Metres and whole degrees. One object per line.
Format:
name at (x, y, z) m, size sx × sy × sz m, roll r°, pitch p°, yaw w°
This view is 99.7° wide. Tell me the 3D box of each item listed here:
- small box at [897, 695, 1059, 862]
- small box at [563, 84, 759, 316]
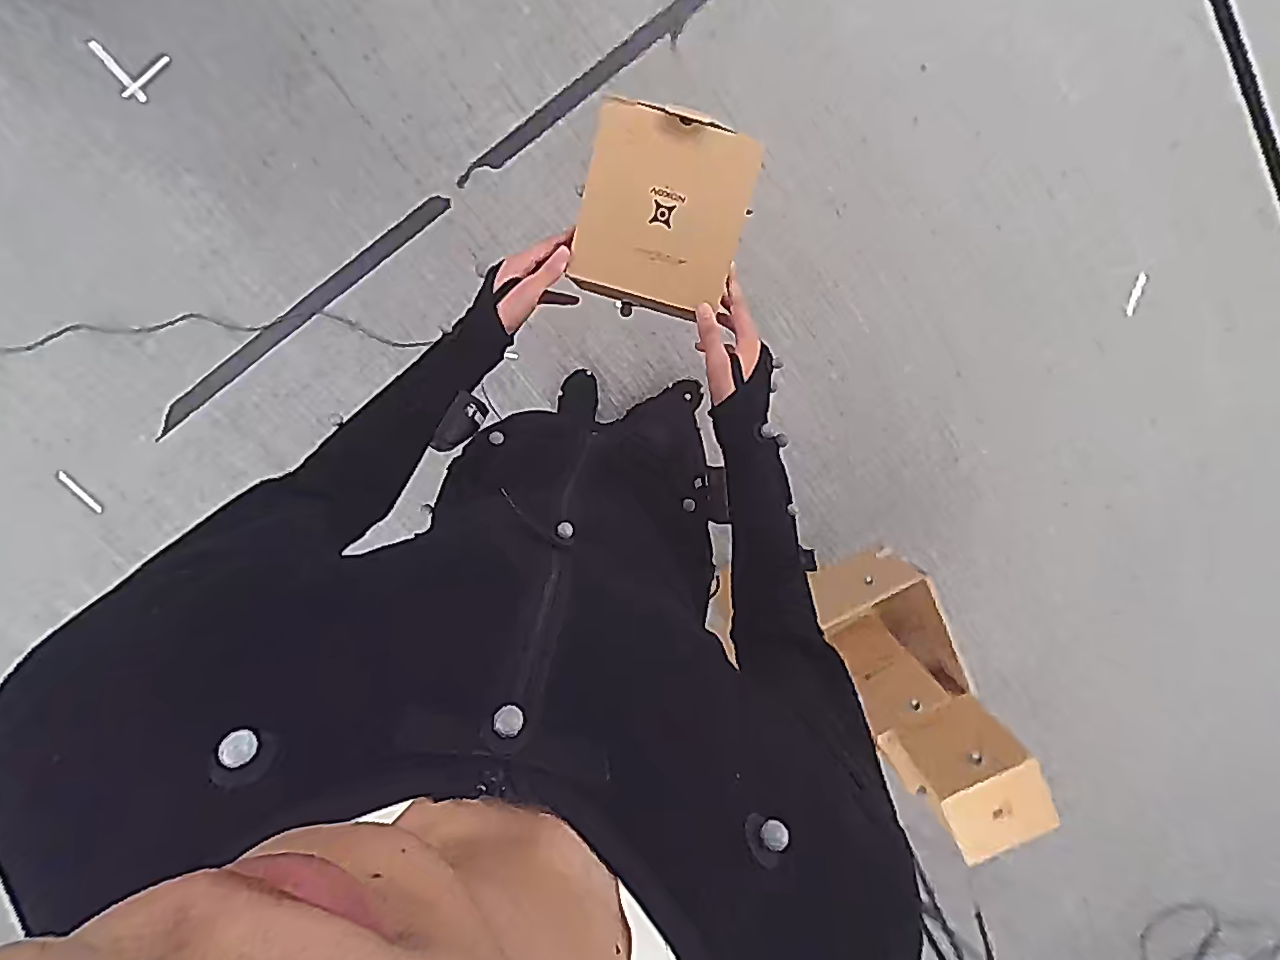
small box at (0.602, 0.536, 0.989) m, size 0.179 × 0.176 × 0.168 m, roll -28°, pitch 106°, yaw 3°
small box at (0.018, -0.297, 0.617) m, size 0.168 × 0.176 × 0.179 m, roll 13°, pitch 103°, yaw -3°
